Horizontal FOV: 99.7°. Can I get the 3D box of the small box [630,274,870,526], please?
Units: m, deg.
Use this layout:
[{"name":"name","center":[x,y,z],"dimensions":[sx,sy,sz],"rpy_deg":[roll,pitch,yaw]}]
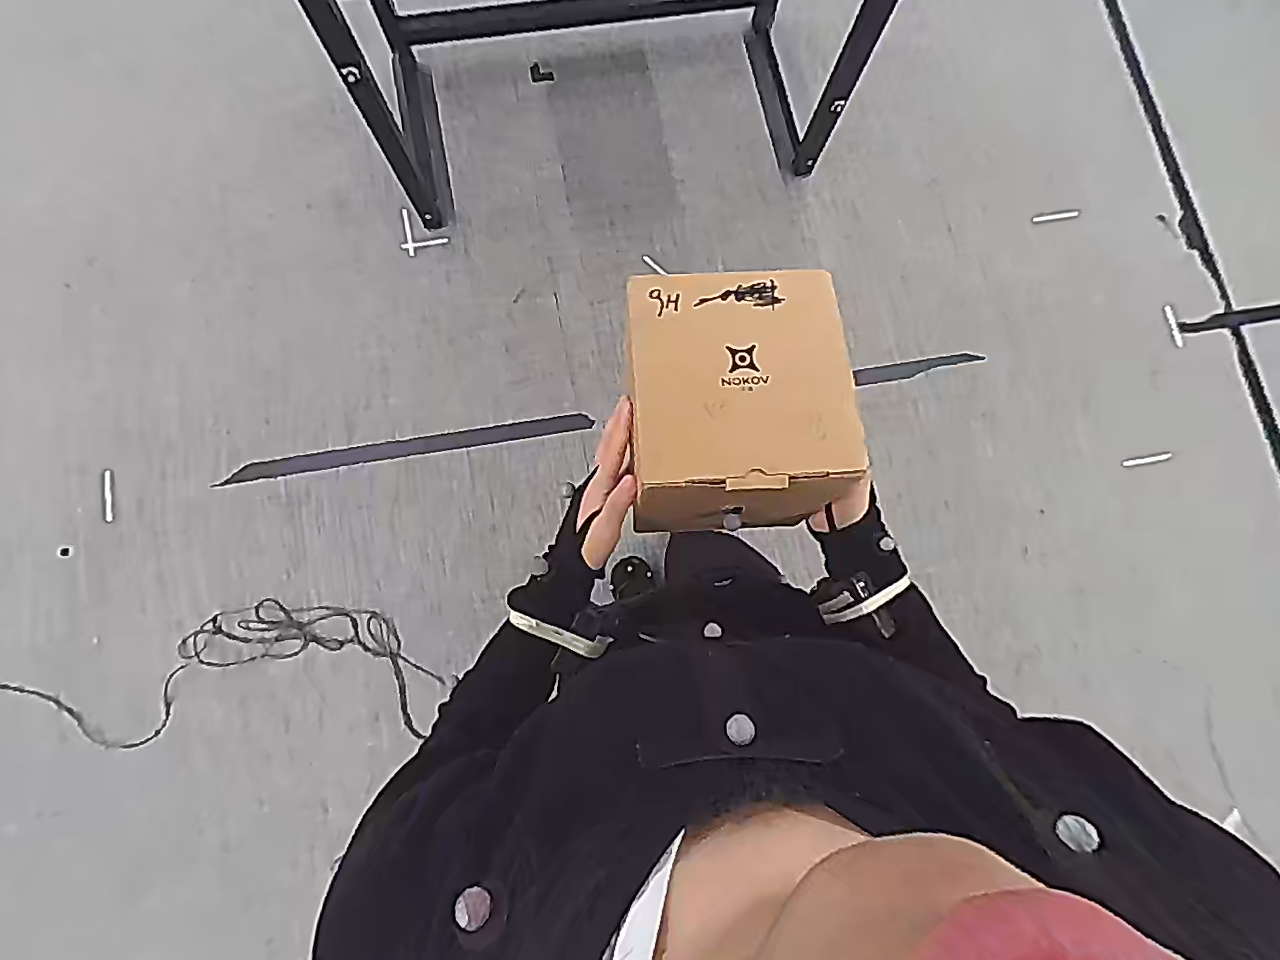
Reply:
[{"name":"small box","center":[0.077,-0.056,0.482],"dimensions":[0.168,0.176,0.179],"rpy_deg":[-3,74,-4]}]
